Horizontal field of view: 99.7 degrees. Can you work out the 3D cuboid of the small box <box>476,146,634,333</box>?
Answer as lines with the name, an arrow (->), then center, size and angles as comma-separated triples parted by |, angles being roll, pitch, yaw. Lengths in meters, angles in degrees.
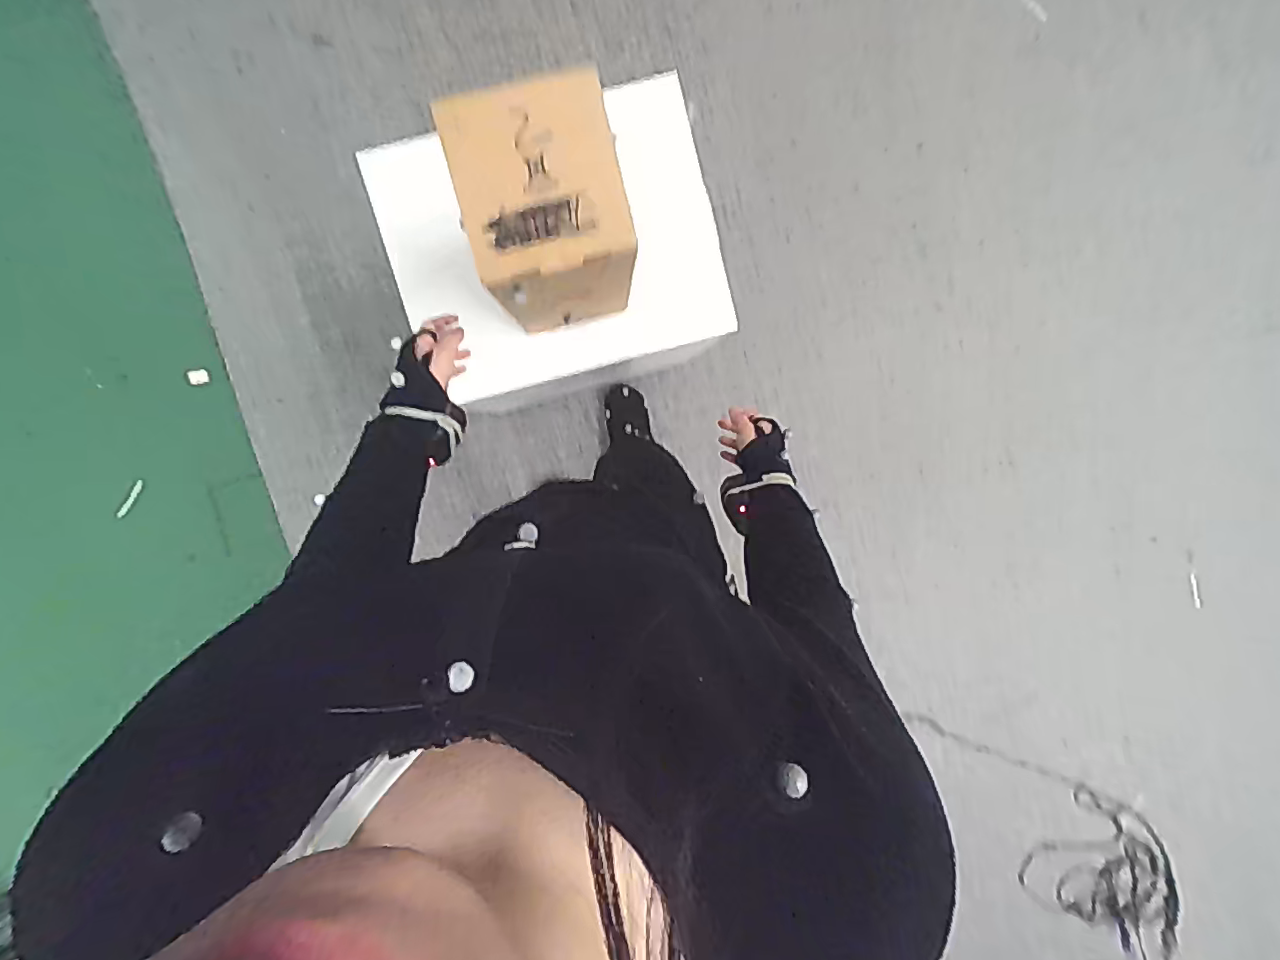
small box -> -0.112, -0.323, 0.760 | 0.168, 0.176, 0.179 | -15, 96, -2
